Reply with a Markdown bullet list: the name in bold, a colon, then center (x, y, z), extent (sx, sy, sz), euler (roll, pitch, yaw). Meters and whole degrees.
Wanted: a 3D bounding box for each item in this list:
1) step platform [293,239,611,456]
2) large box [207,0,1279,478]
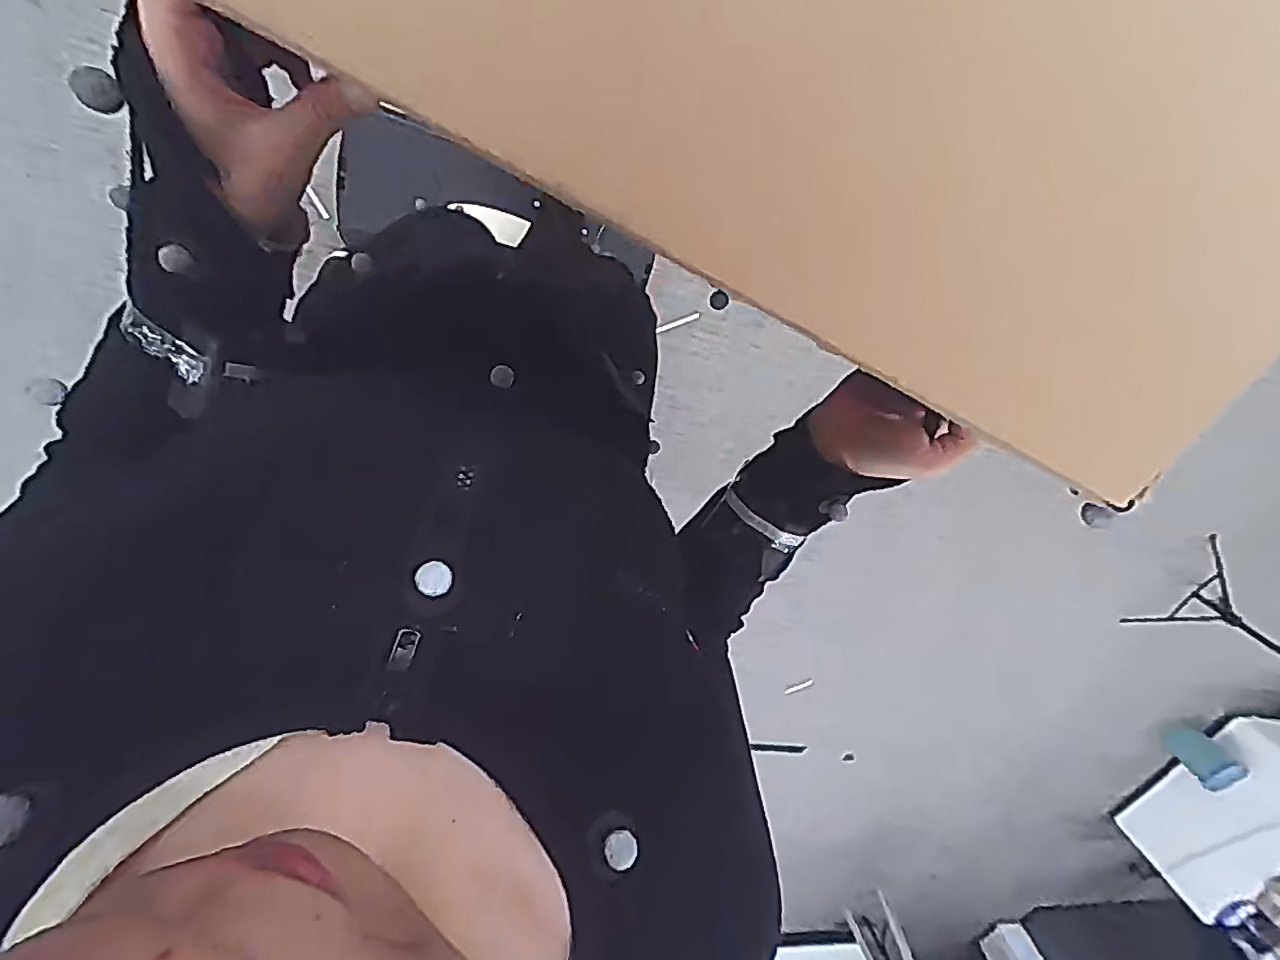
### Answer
- **step platform**: center (-0.415, -0.295, 1.277), extent (0.684, 0.204, 0.286), euler (18, 116, -19)
- **large box**: center (0.065, -0.262, 0.228), extent (0.408, 0.320, 0.320), euler (22, 115, -16)
